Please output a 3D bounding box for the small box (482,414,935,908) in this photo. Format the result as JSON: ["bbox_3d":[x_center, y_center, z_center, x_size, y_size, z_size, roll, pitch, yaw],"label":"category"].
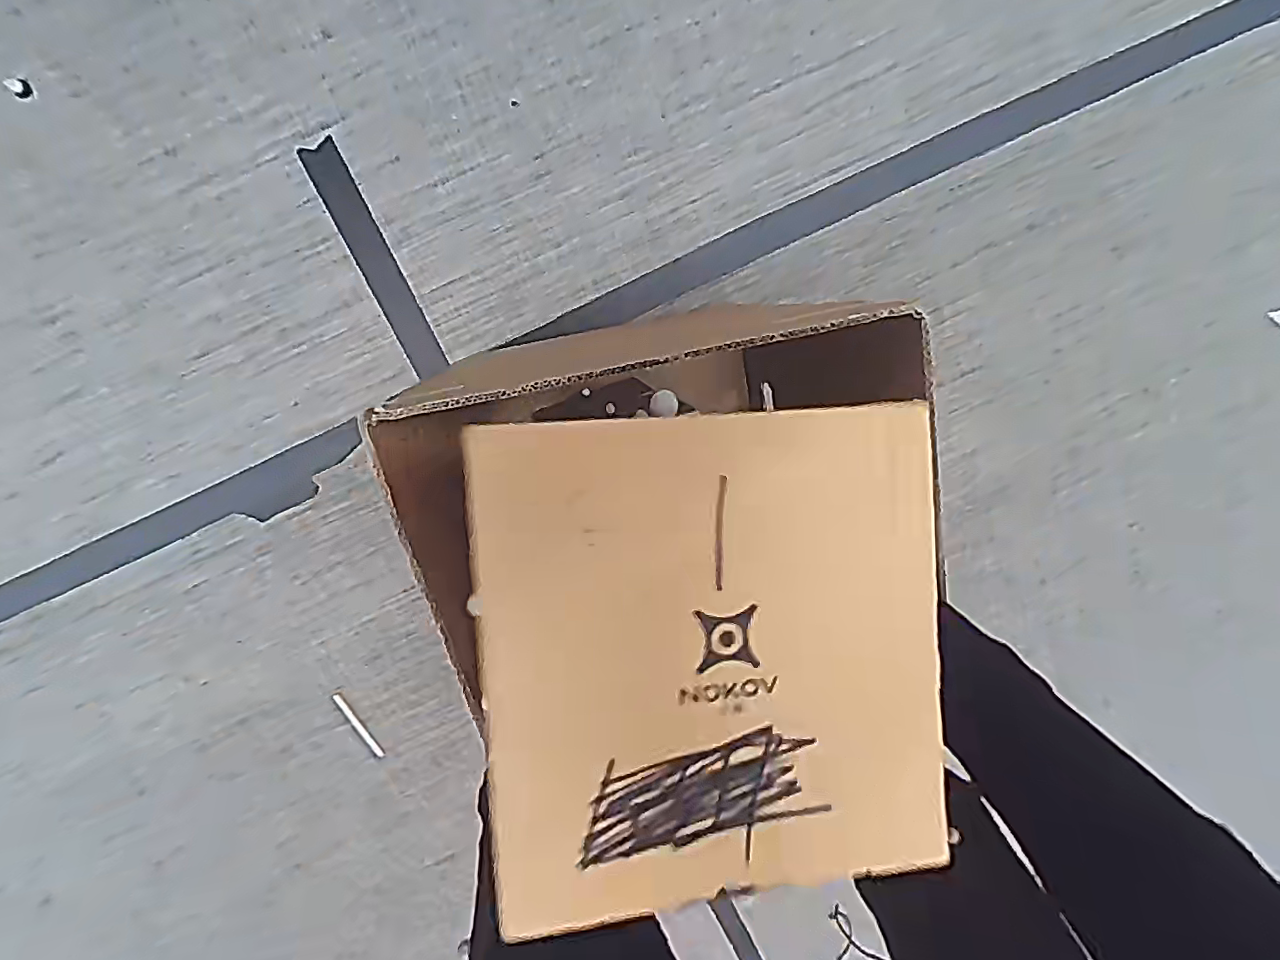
[{"bbox_3d":[0.020,0.058,0.277,0.168,0.176,0.179,-4,95,-9],"label":"small box"}]
